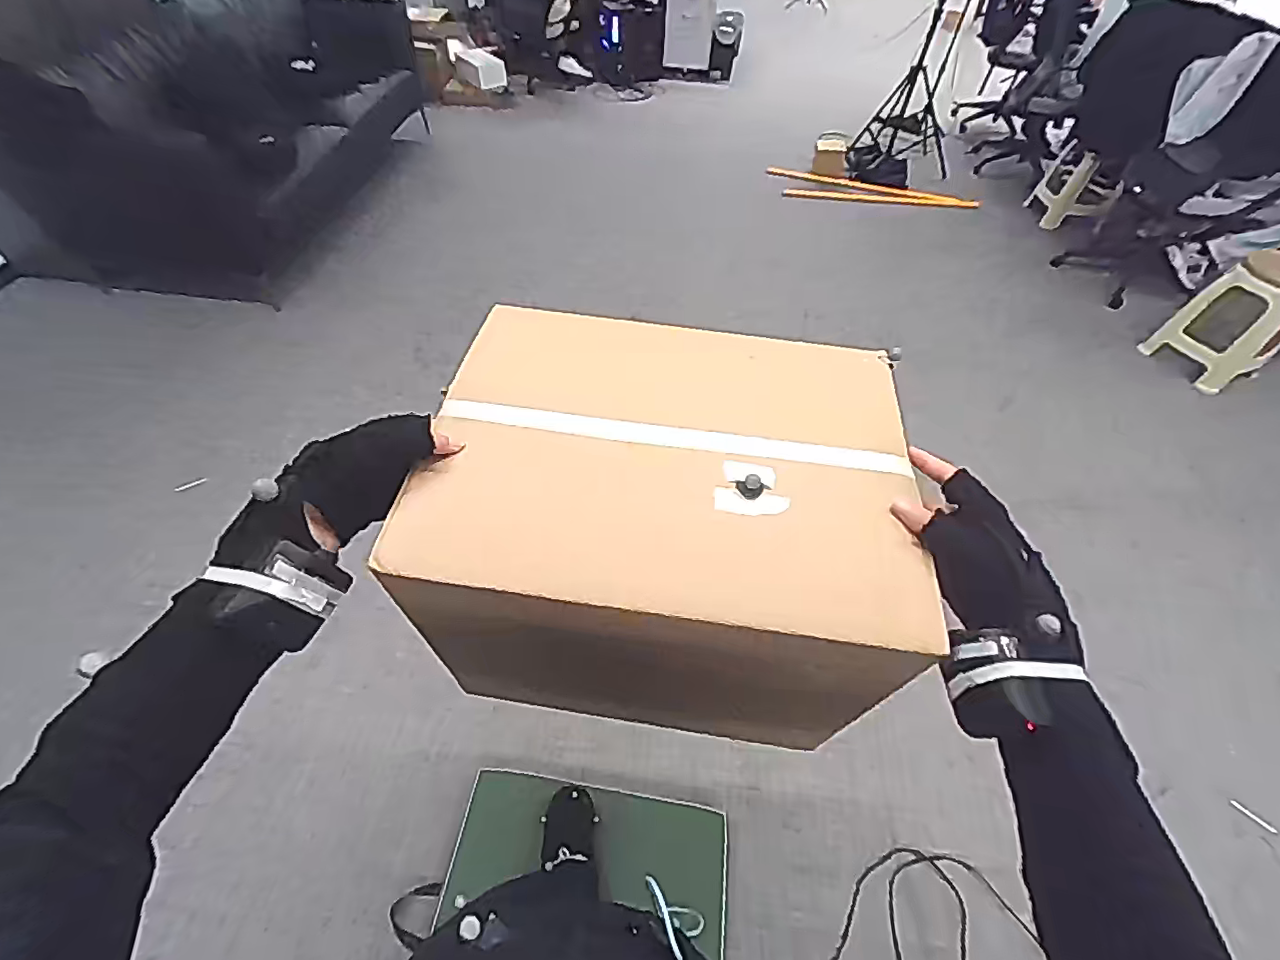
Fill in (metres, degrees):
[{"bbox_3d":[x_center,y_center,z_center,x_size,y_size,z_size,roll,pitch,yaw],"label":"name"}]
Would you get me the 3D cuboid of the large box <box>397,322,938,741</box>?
[{"bbox_3d":[0.024,0.064,0.595,0.408,0.320,0.320,8,53,2],"label":"large box"}]
